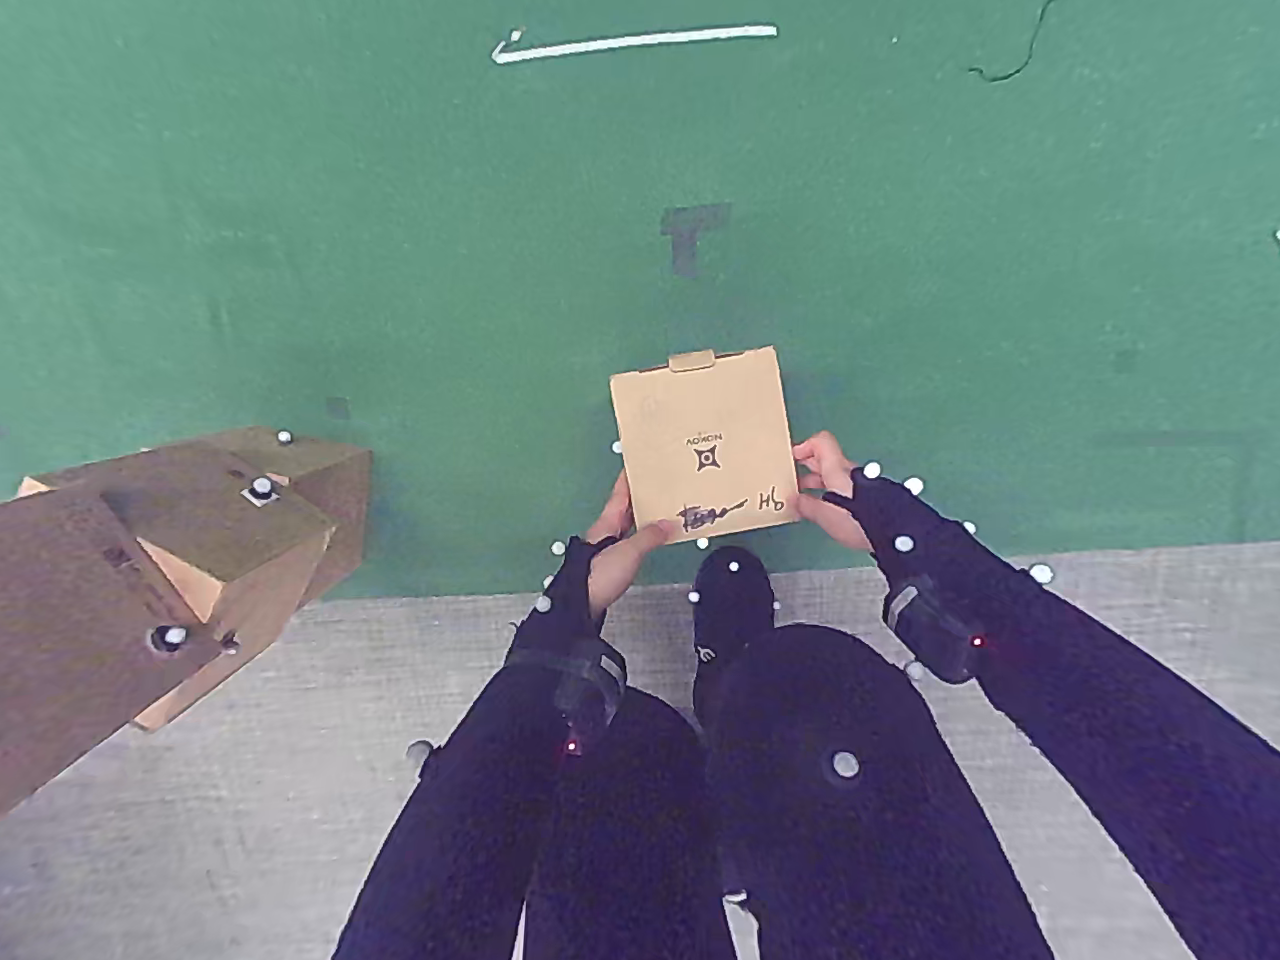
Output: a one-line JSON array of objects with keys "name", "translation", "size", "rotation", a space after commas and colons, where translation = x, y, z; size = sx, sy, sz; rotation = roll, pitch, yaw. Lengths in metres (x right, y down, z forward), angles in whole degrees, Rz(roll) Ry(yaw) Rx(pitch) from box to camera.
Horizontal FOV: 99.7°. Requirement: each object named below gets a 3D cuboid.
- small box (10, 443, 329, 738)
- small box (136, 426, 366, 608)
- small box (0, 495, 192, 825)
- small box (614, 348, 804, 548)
[{"name": "small box", "translation": [-0.436, 0.089, 0.509], "size": [0.168, 0.176, 0.179], "rotation": [32, 103, -7]}, {"name": "small box", "translation": [-0.462, 0.044, 0.666], "size": [0.168, 0.176, 0.179], "rotation": [12, 104, -2]}, {"name": "small box", "translation": [-0.451, 0.131, 0.350], "size": [0.179, 0.176, 0.168], "rotation": [-26, 103, 9]}, {"name": "small box", "translation": [0.067, -0.034, 0.606], "size": [0.168, 0.176, 0.179], "rotation": [-10, 94, 1]}]
